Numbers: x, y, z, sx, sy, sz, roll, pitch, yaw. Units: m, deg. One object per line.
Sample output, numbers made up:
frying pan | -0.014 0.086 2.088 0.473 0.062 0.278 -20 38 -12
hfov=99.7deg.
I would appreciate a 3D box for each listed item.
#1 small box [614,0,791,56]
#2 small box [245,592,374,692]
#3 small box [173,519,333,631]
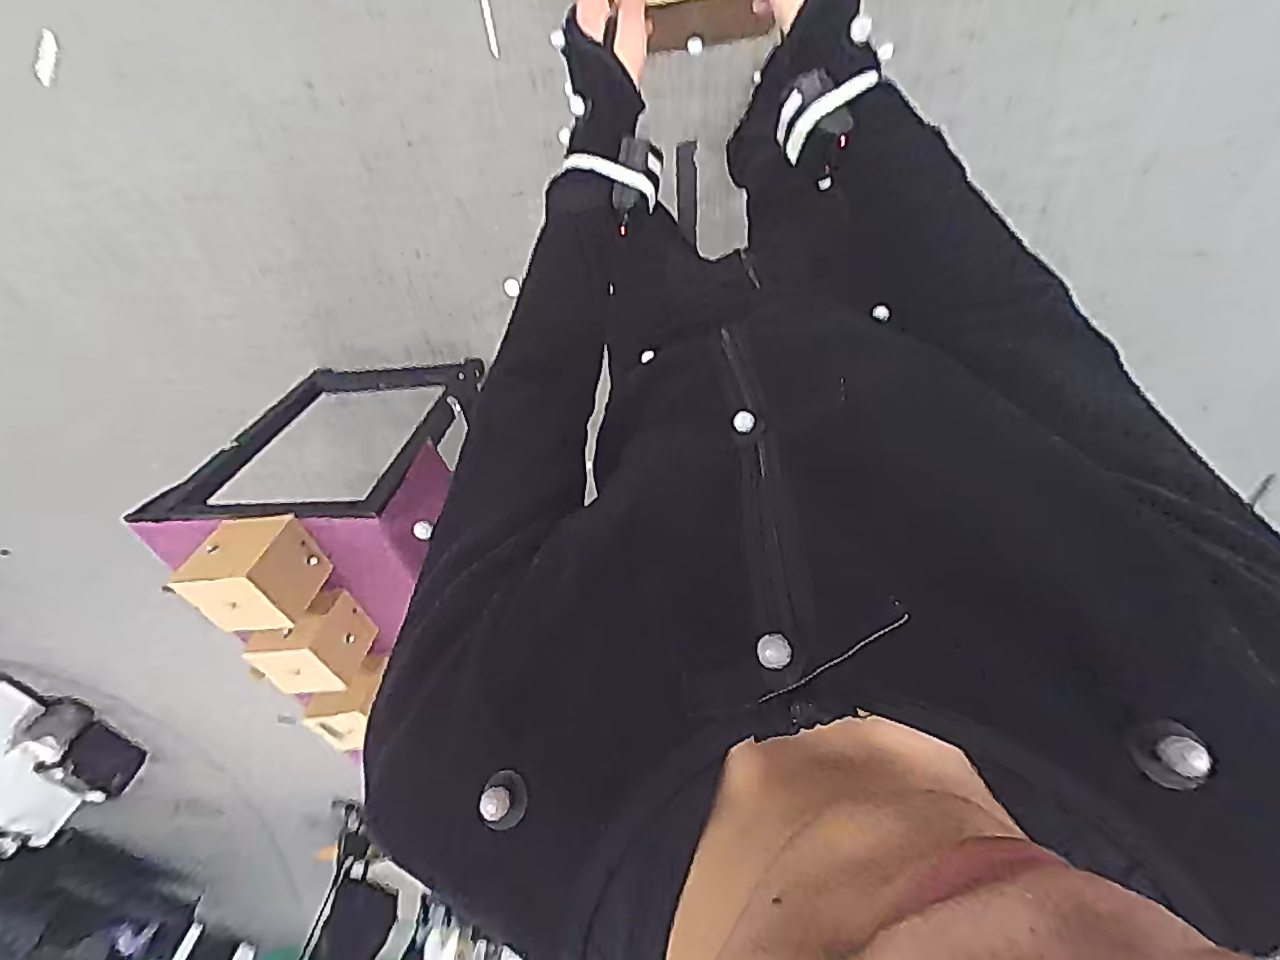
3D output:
small box | 0.050 -0.520 0.486 0.168 0.176 0.179 -6 116 4
small box | -0.767 0.382 1.285 0.179 0.176 0.168 -6 128 11
small box | -0.796 0.198 1.135 0.179 0.176 0.168 -5 131 10
